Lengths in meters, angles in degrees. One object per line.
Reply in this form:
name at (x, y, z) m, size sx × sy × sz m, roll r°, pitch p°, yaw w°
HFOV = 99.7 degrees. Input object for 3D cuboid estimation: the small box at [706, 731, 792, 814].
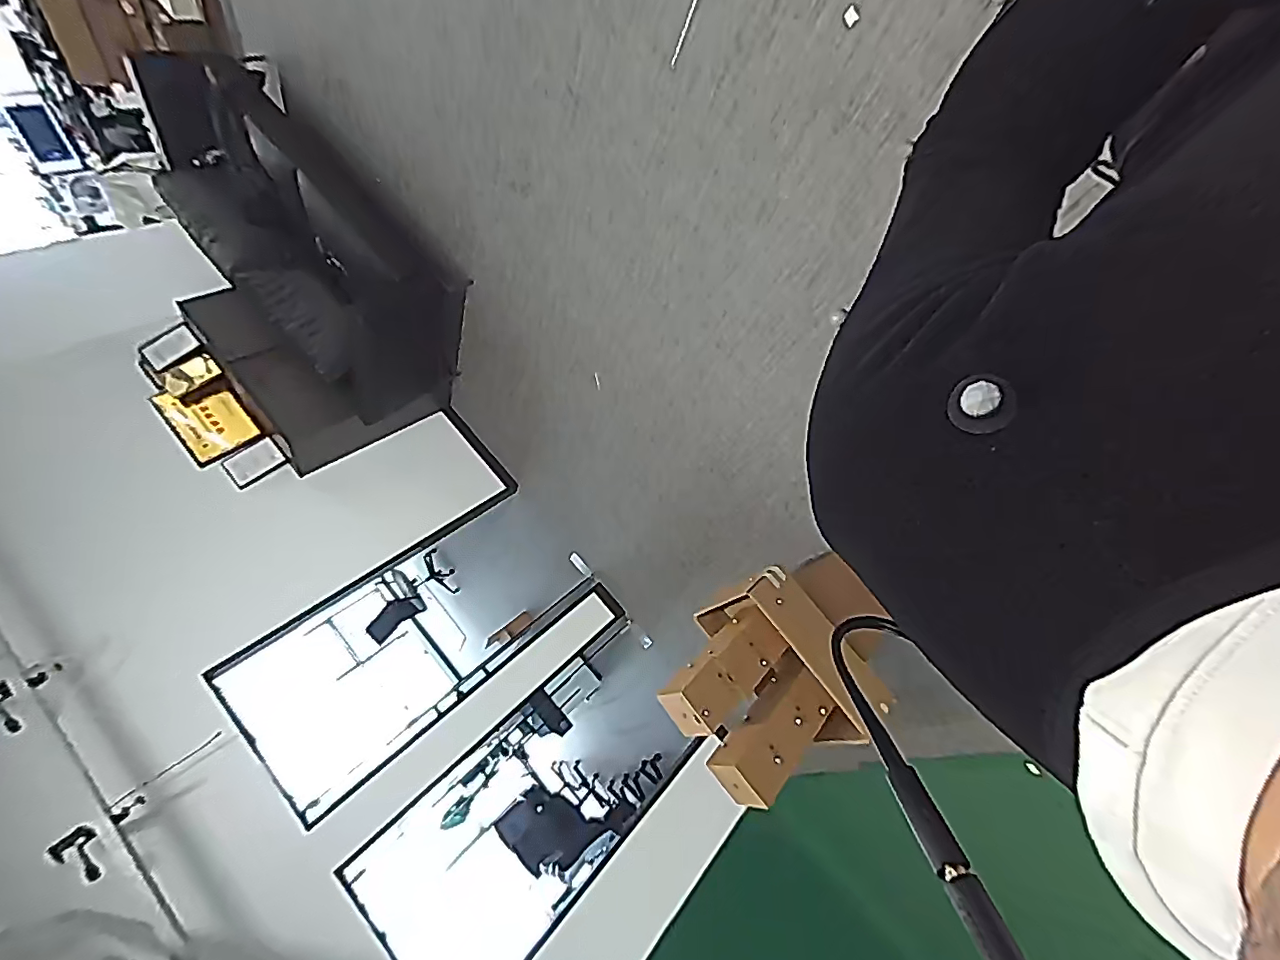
small box at (0.352, 0.932, 1.739) m, size 0.168 × 0.176 × 0.179 m, roll 51°, pitch 145°, yaw 4°

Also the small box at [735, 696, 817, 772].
small box at (0.463, 0.857, 1.832) m, size 0.168 × 0.176 × 0.179 m, roll 51°, pitch 145°, yaw 5°

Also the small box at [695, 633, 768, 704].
small box at (0.309, 0.641, 1.840) m, size 0.168 × 0.176 × 0.179 m, roll 53°, pitch 145°, yaw 4°

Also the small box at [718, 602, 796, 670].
small box at (0.421, 0.564, 1.934) m, size 0.168 × 0.176 × 0.179 m, roll 52°, pitch 144°, yaw 4°

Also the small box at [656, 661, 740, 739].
small box at (0.190, 0.712, 1.752) m, size 0.168 × 0.176 × 0.179 m, roll 52°, pitch 145°, yaw 4°
